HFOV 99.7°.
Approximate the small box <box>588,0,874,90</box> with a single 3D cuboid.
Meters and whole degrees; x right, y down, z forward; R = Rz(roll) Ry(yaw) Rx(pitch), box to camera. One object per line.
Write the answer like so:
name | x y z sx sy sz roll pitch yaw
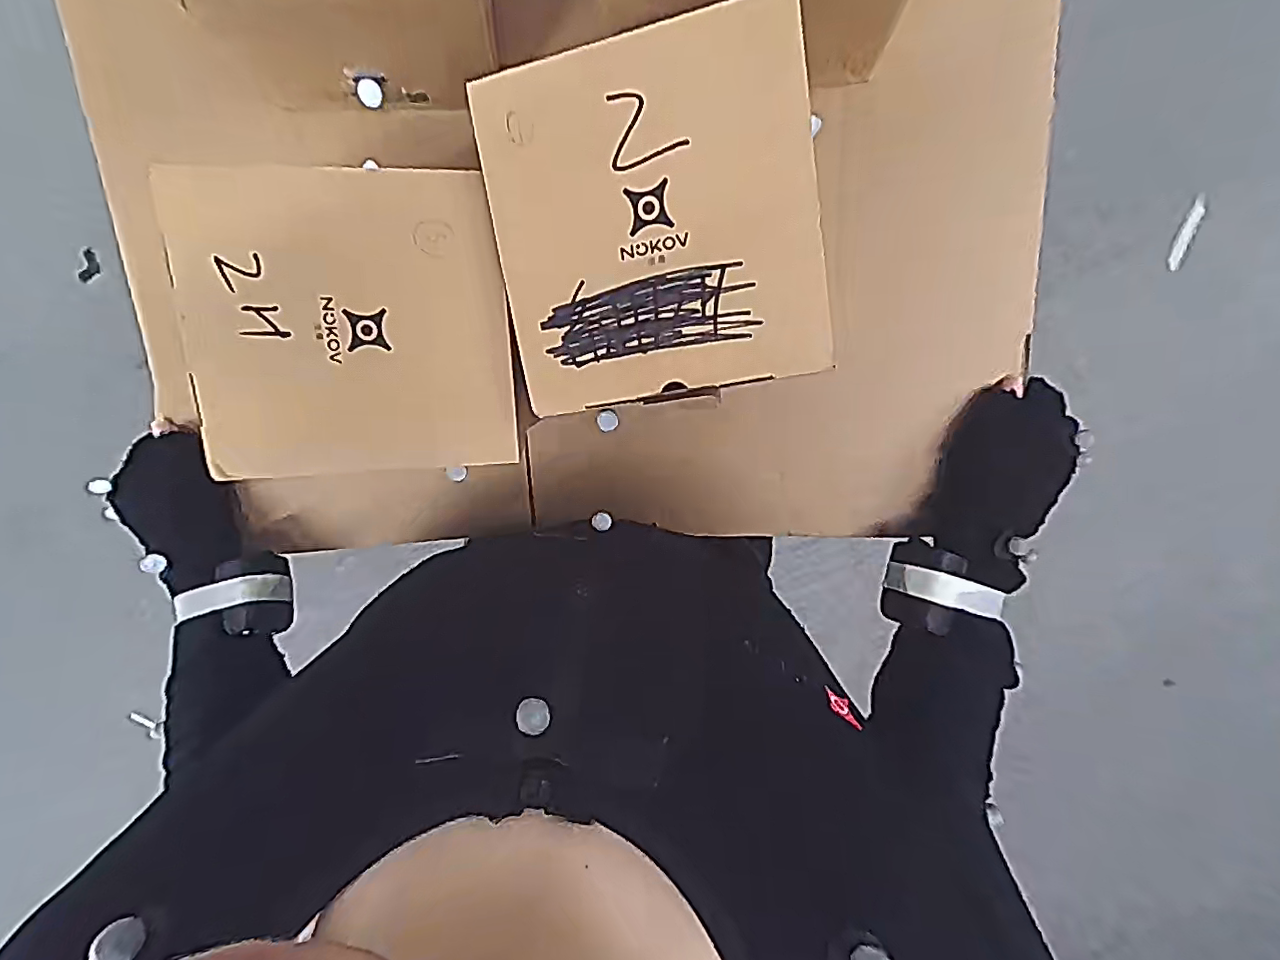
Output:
small box | 0.054 -0.352 0.302 0.168 0.176 0.179 0 101 11
